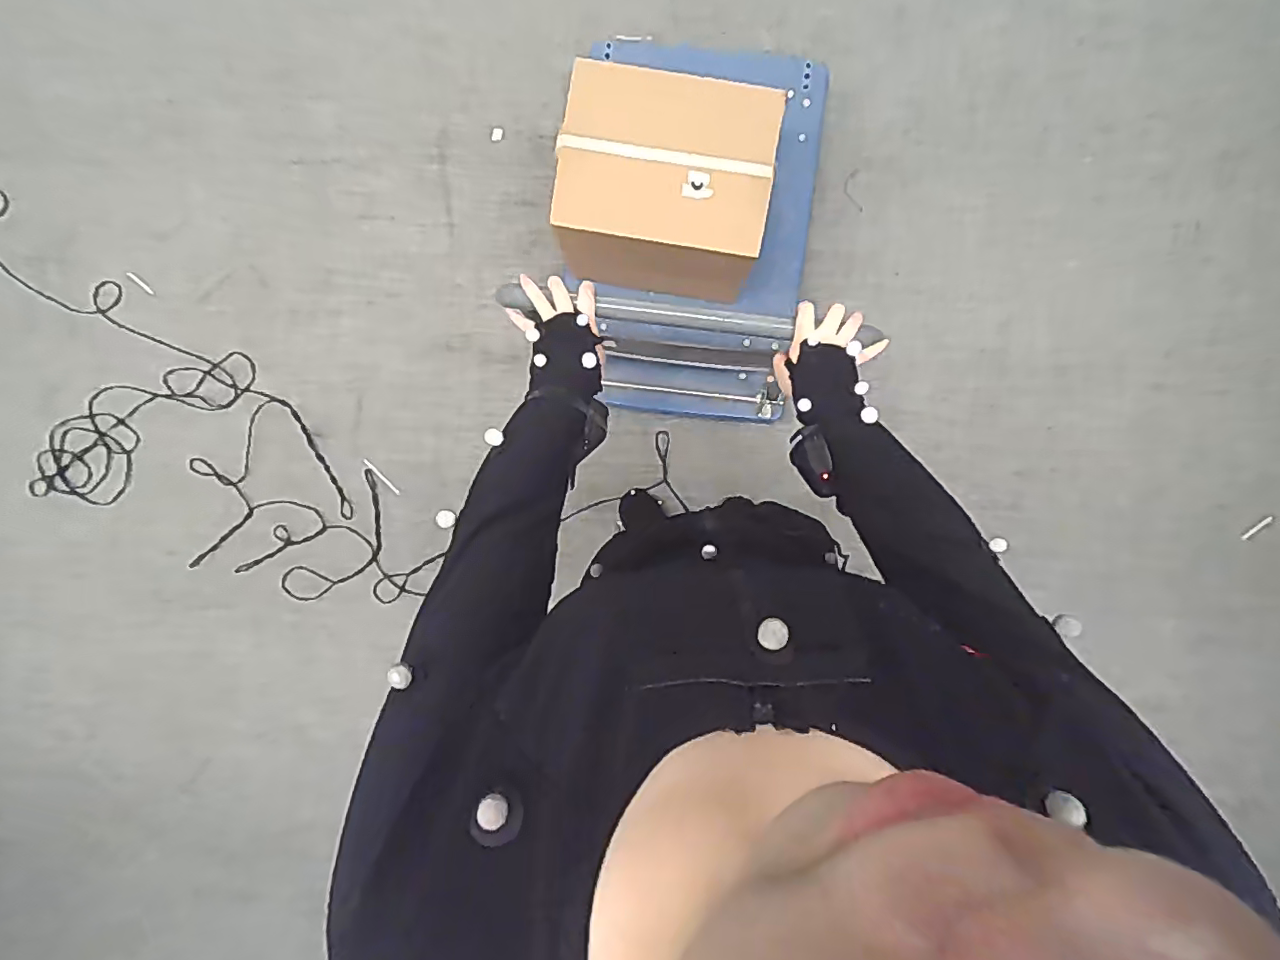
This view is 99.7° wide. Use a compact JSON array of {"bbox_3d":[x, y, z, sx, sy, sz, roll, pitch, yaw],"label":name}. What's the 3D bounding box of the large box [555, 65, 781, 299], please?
[{"bbox_3d":[0.051,-0.617,1.180,0.408,0.320,0.320,9,92,0],"label":"large box"}]
